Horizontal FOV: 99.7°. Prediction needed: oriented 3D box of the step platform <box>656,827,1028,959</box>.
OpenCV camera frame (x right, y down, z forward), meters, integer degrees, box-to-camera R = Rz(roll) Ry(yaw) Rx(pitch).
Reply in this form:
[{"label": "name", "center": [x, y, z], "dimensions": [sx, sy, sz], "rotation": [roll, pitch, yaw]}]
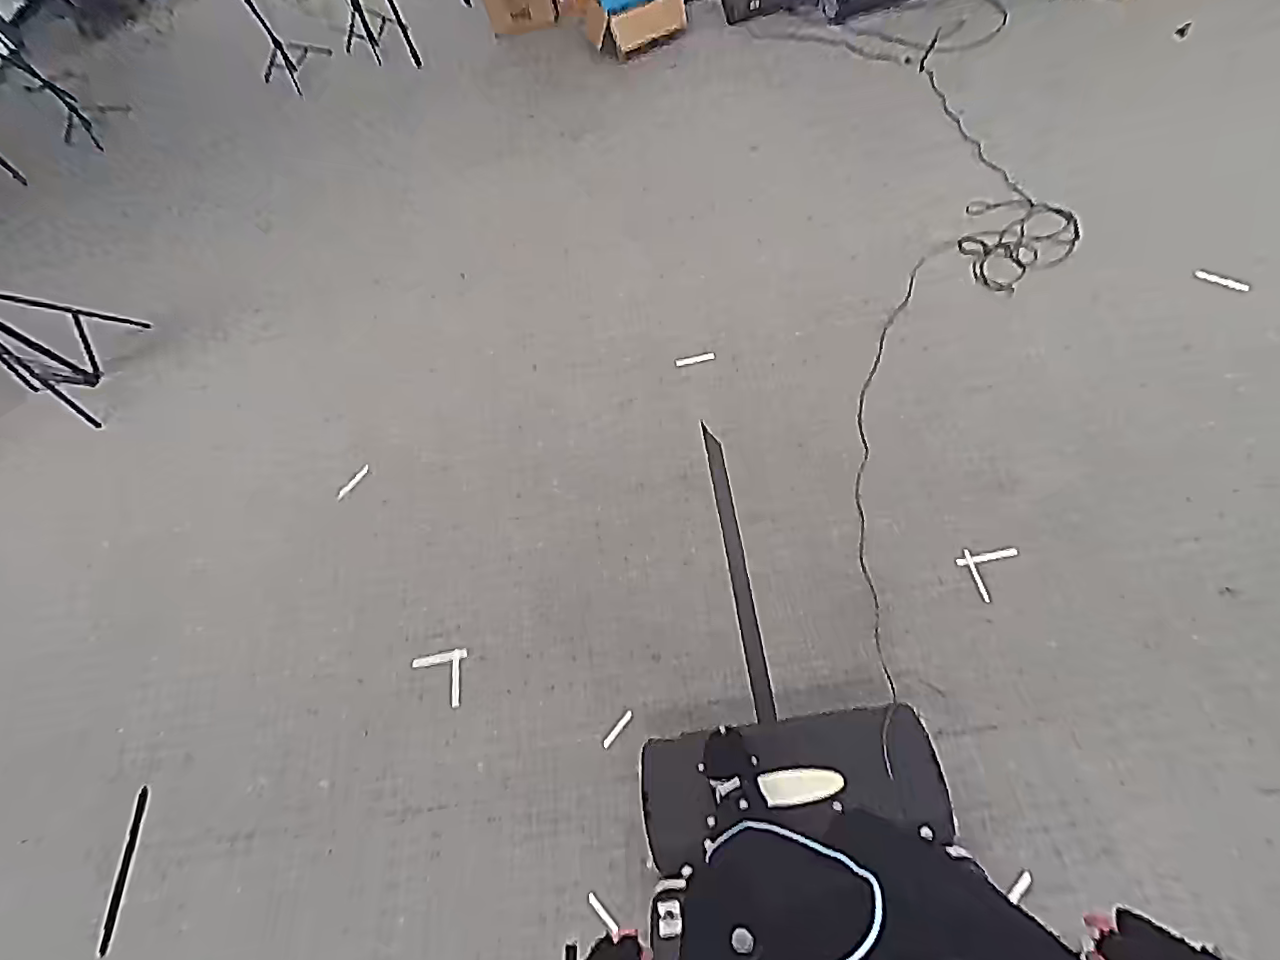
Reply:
[{"label": "step platform", "center": [0.375, 0.909, 1.080], "dimensions": [0.684, 0.204, 0.286], "rotation": [-13, 60, 8]}]
